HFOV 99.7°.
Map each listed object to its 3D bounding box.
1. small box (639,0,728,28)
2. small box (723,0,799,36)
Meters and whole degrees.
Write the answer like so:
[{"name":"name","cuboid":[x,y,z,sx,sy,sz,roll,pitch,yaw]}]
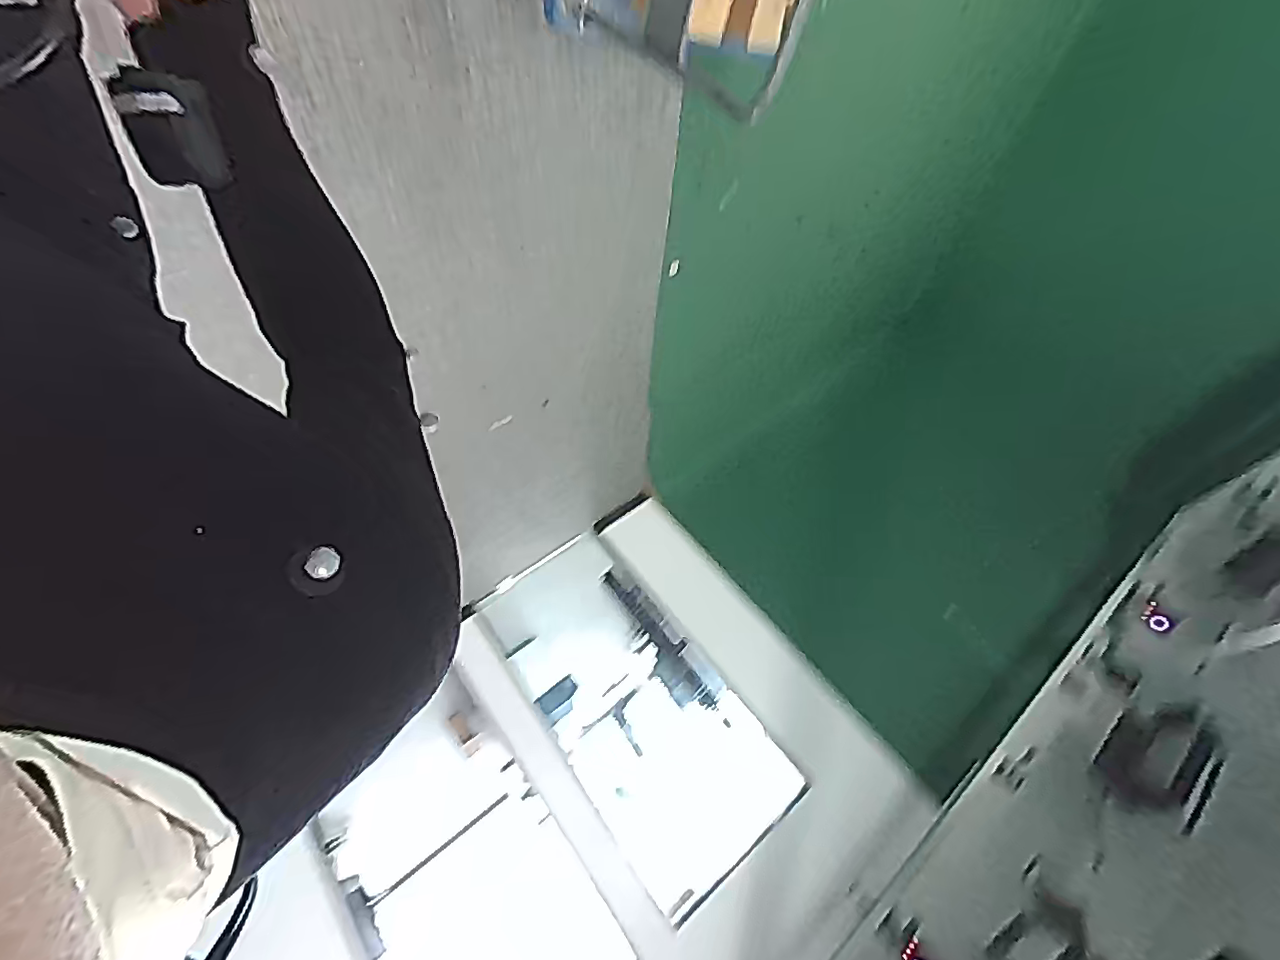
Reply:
[{"name":"small box","cuboid":[0.111,-1.227,1.300,0.179,0.176,0.168,-24,150,-34]},{"name":"small box","cuboid":[0.317,-1.322,1.448,0.179,0.176,0.168,-26,150,-30]}]
